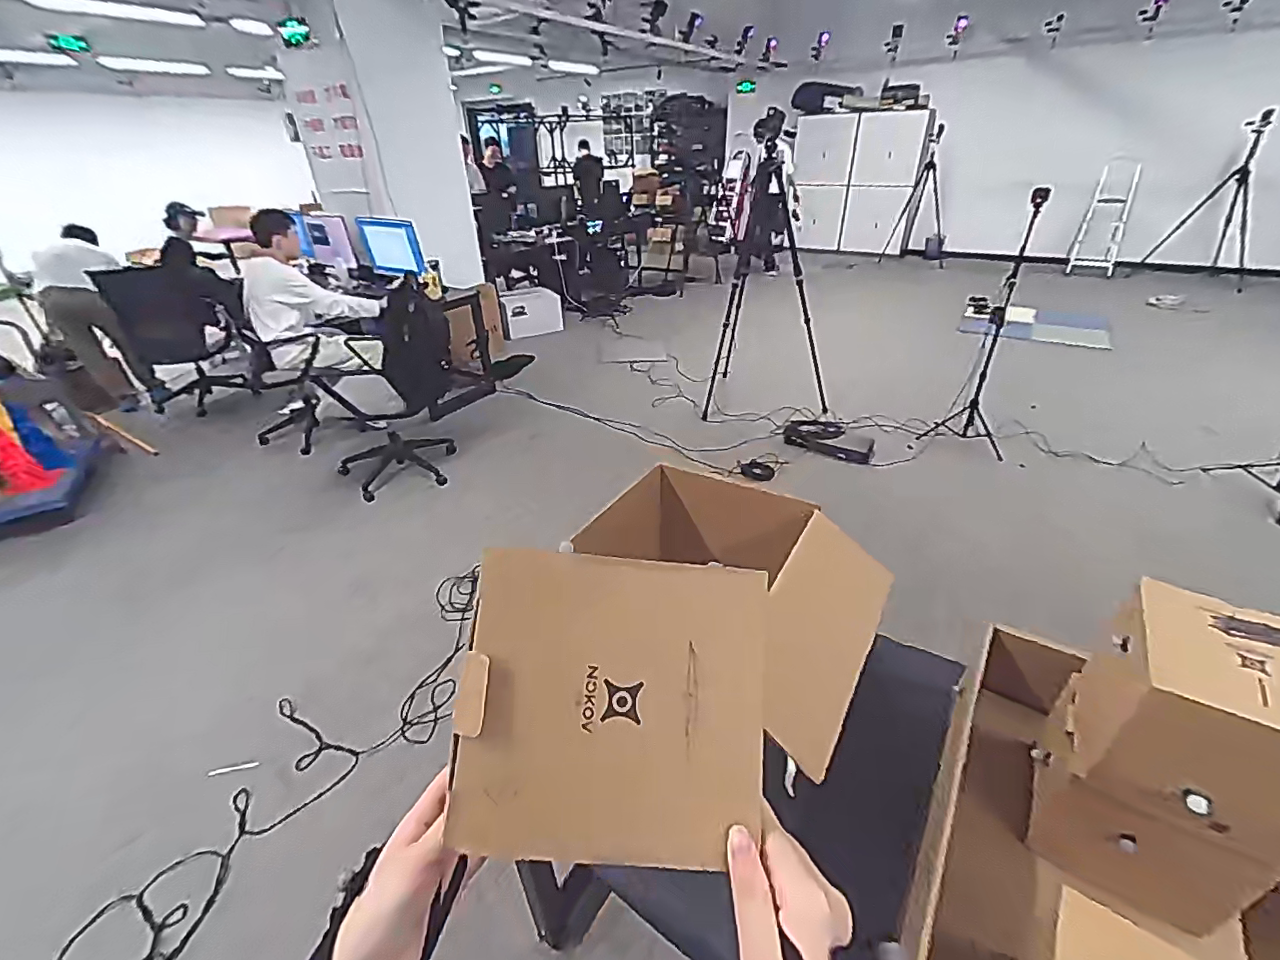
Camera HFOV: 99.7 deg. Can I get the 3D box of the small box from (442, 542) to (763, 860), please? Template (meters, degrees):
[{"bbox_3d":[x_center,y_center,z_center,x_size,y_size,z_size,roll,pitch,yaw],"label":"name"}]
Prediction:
[{"bbox_3d":[-0.022,0.142,0.394,0.179,0.168,0.176,6,-12,-4],"label":"small box"}]

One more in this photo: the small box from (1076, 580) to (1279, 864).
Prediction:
[{"bbox_3d":[0.590,0.244,0.569,0.168,0.176,0.179,18,38,29],"label":"small box"}]
